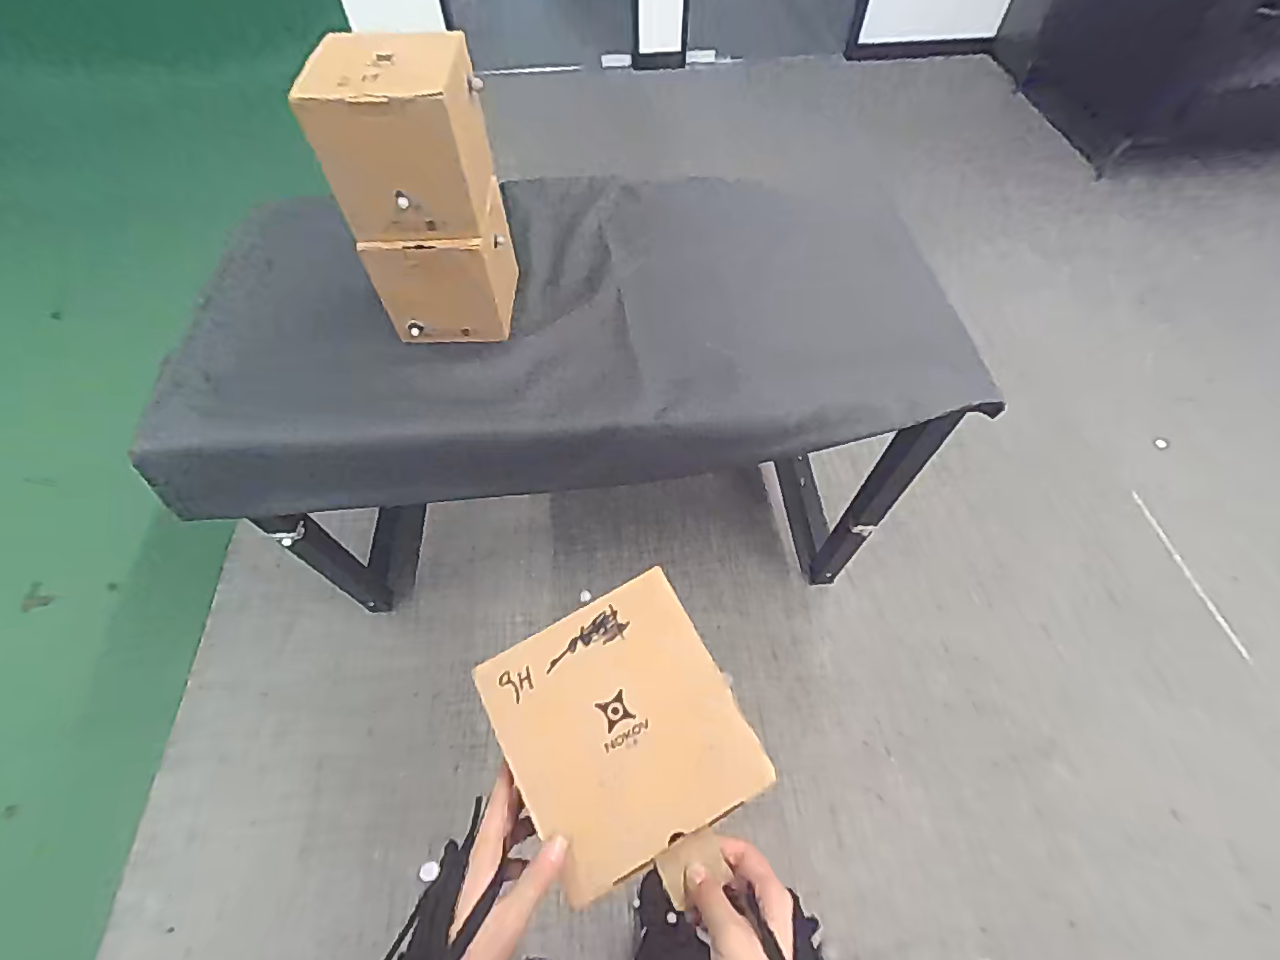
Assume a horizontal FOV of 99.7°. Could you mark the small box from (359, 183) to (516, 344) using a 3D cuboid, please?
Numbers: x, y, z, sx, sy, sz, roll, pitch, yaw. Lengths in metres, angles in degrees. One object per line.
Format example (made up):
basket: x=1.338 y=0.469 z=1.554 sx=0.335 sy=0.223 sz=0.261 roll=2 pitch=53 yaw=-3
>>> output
small box: x=-0.292 y=-0.325 z=0.826 sx=0.168 sy=0.176 sz=0.179 roll=-1 pitch=56 yaw=-1

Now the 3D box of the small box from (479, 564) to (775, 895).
small box: x=-0.011 y=0.198 z=0.472 sx=0.168 sy=0.176 sz=0.179 roll=-27 pitch=72 yaw=-9

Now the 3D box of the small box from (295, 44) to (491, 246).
small box: x=-0.296 y=-0.427 z=0.696 sx=0.168 sy=0.176 sz=0.179 roll=-3 pitch=57 yaw=-1
